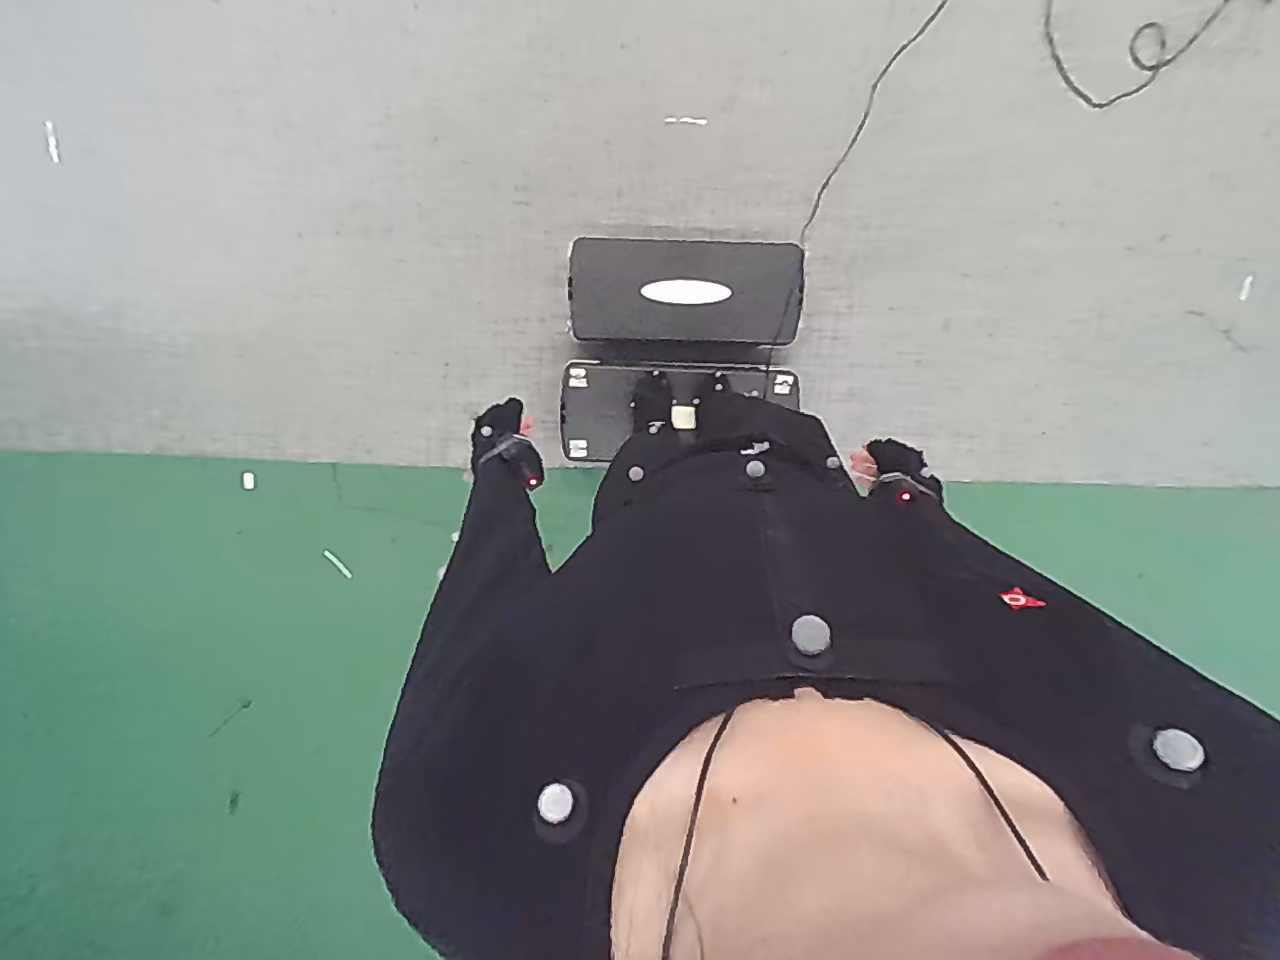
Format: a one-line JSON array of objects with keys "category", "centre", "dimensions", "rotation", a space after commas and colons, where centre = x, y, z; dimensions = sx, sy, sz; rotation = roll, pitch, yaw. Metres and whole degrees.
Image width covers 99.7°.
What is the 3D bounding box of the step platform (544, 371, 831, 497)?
[{"category": "step platform", "centre": [0.111, -0.124, 1.369], "dimensions": [0.684, 0.204, 0.286], "rotation": [1, 102, -2]}]
